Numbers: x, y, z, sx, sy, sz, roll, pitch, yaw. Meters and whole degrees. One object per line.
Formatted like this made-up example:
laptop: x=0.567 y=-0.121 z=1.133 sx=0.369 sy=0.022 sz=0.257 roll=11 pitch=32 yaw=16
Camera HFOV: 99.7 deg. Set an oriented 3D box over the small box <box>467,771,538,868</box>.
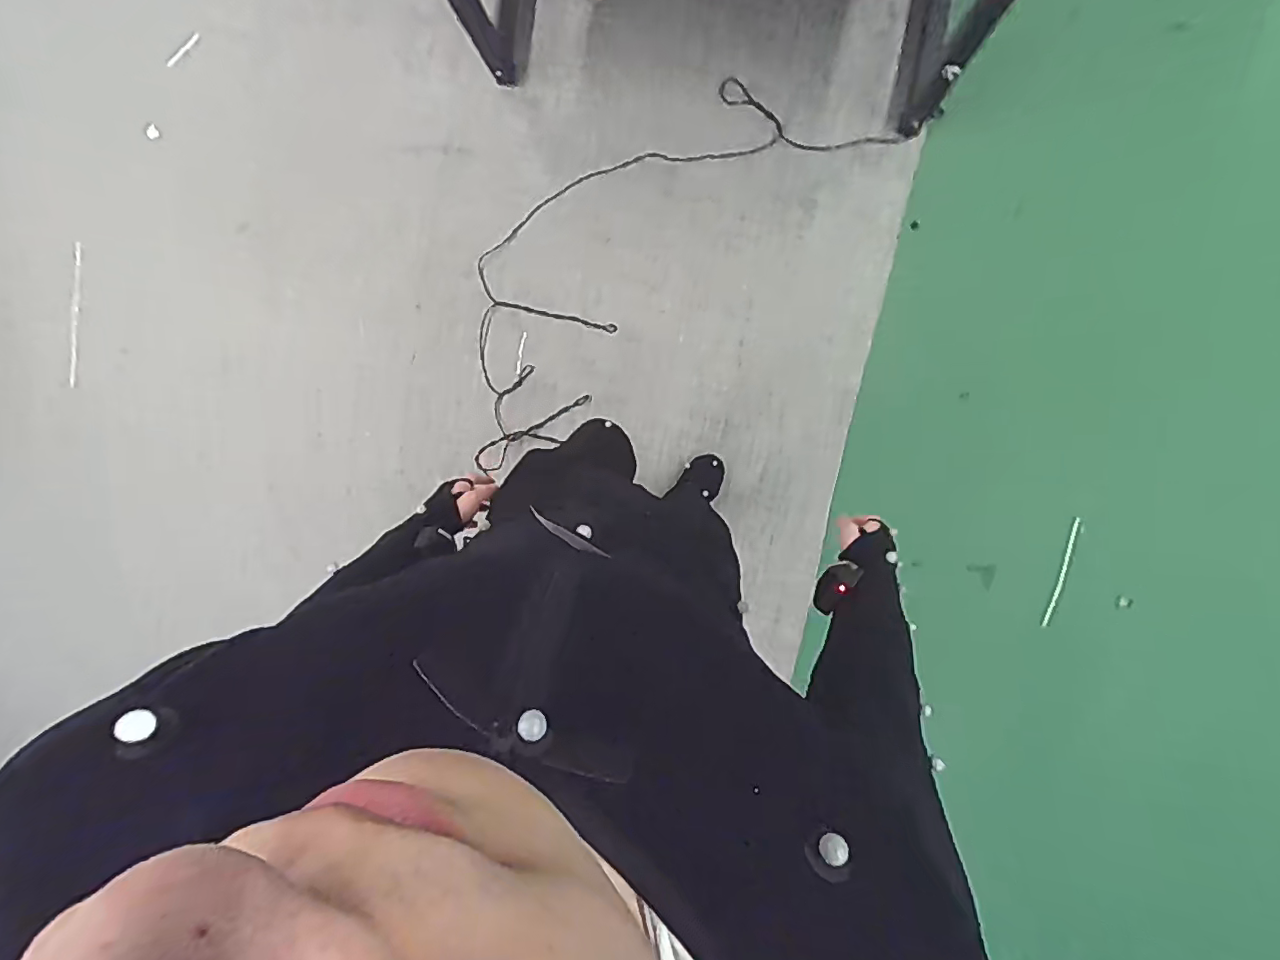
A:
small box: x=-0.426 y=1.055 z=1.692 sx=0.168 sy=0.176 sz=0.179 roll=7 pitch=97 yaw=6
